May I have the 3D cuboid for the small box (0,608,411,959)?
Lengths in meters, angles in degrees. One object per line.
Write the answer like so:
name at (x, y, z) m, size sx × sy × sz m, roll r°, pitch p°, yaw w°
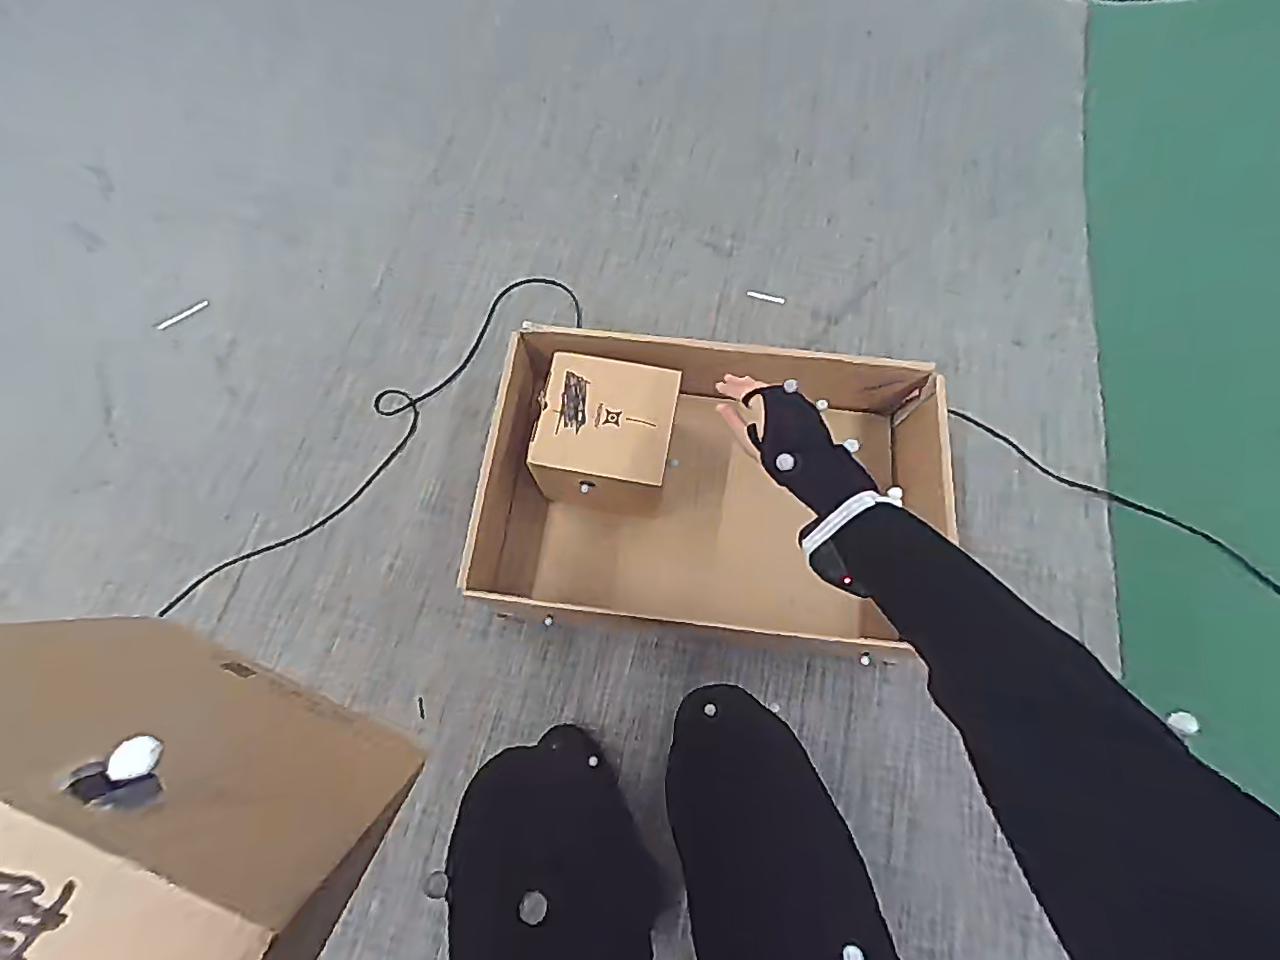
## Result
small box at (-0.207, 0.158, 0.183) m, size 0.168 × 0.176 × 0.179 m, roll 28°, pitch 74°, yaw -3°
